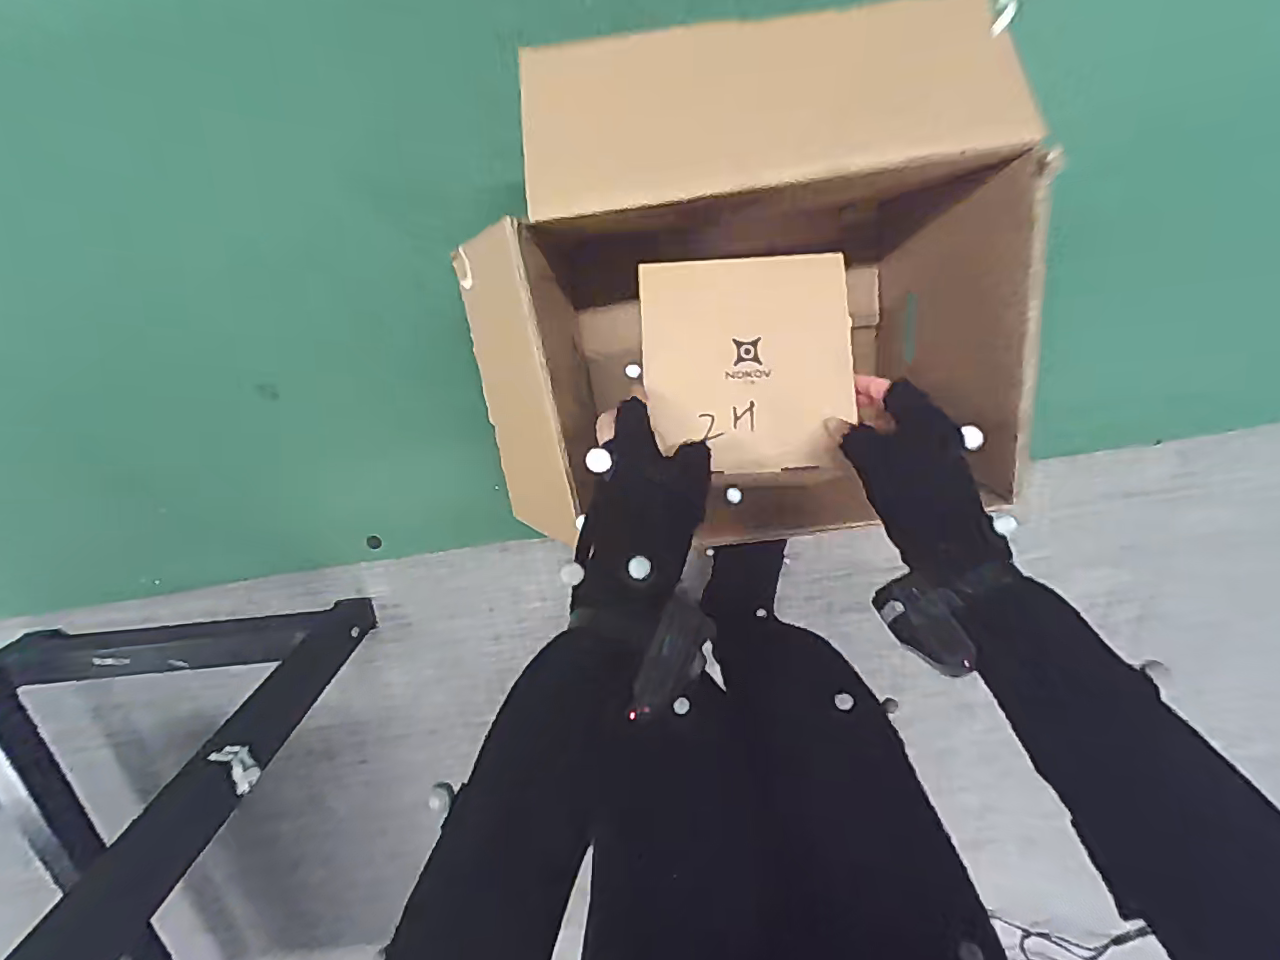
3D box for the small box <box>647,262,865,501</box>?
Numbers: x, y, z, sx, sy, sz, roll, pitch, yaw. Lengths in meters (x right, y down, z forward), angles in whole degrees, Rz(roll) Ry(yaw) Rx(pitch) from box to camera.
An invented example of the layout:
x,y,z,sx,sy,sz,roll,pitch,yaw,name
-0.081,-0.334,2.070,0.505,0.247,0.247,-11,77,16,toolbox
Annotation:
x,y,z,sx,sy,sz,roll,pitch,yaw,name
0.090,-0.076,0.501,0.168,0.176,0.179,-2,83,2,small box
